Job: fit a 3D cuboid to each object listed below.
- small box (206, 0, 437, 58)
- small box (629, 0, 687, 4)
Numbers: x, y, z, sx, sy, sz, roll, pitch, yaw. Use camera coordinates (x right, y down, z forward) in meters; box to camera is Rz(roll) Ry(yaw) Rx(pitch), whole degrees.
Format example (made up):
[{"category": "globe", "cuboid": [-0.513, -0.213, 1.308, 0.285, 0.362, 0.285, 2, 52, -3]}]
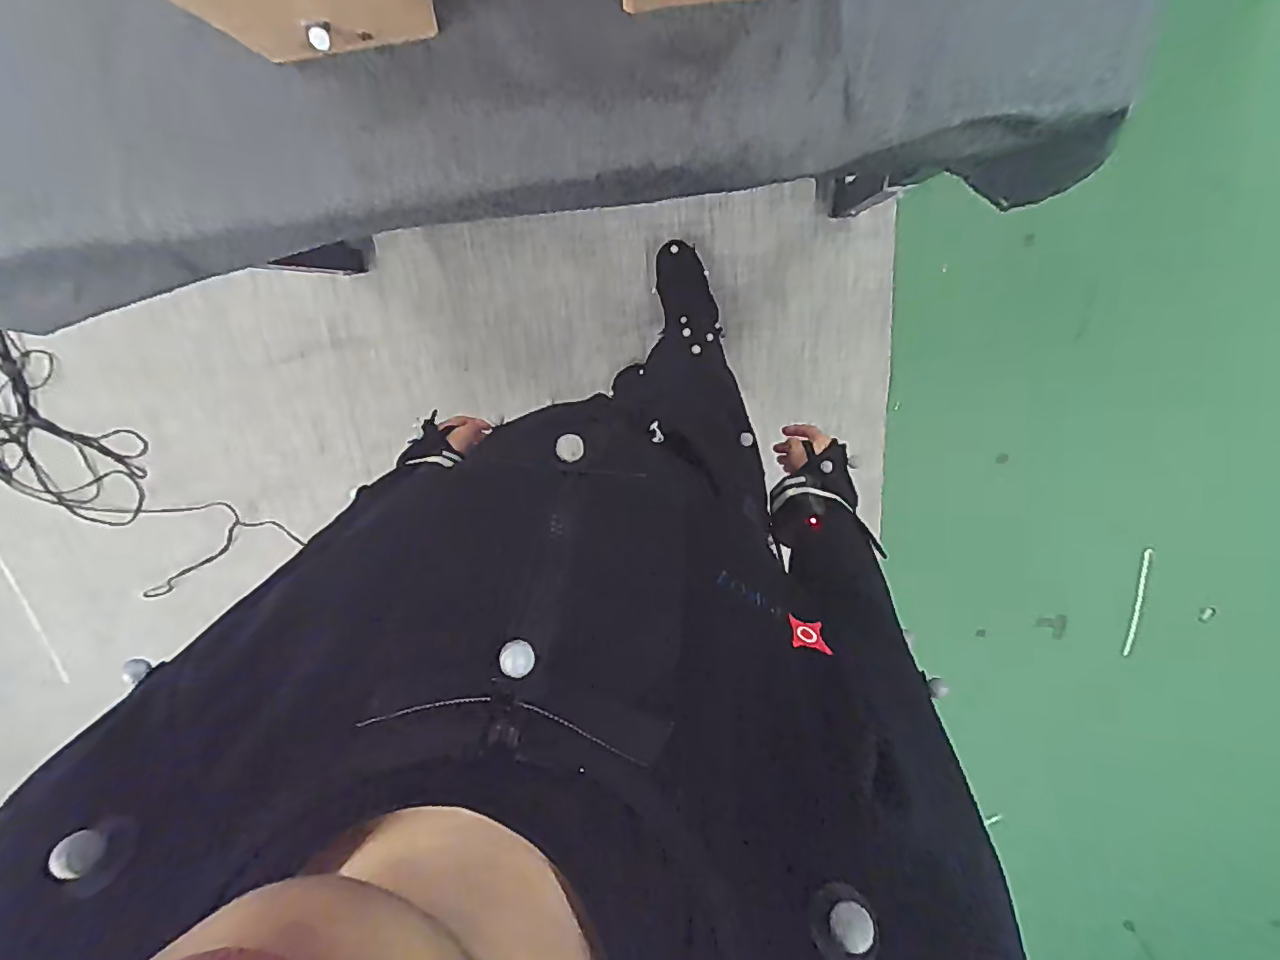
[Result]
[{"category": "small box", "cuboid": [-0.278, -0.464, 0.406, 0.168, 0.176, 0.179, -5, 108, 6]}, {"category": "small box", "cuboid": [0.058, -0.480, 0.381, 0.179, 0.176, 0.168, -3, 108, 4]}]
